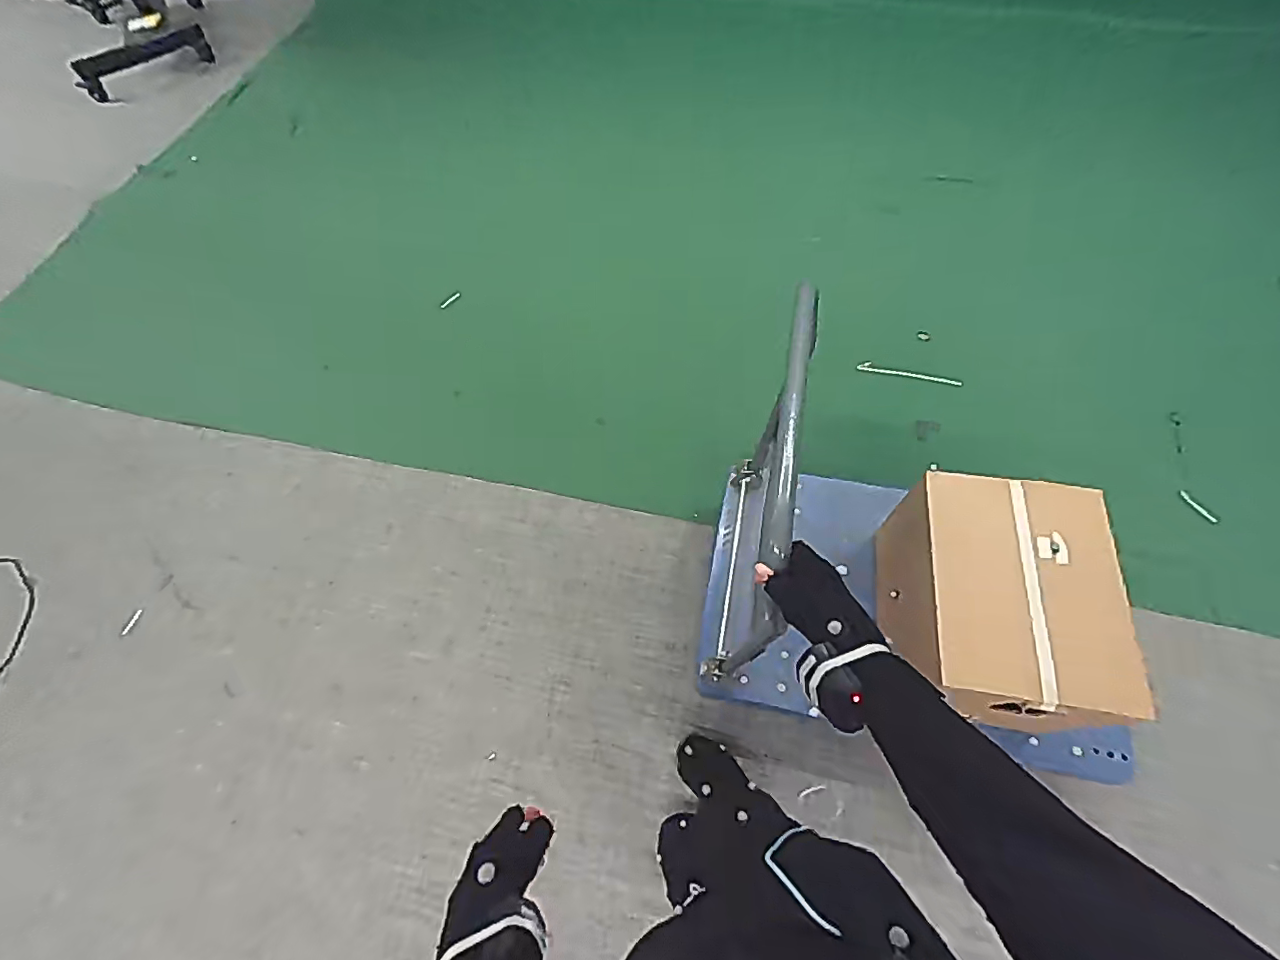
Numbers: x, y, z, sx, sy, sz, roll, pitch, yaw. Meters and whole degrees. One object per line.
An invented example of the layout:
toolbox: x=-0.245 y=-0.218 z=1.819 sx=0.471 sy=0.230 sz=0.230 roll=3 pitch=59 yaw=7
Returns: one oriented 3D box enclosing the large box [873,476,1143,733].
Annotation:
large box: x=0.672 y=0.254 z=1.078 sx=0.320 sy=0.320 sz=0.408 roll=8 pitch=61 yaw=7
